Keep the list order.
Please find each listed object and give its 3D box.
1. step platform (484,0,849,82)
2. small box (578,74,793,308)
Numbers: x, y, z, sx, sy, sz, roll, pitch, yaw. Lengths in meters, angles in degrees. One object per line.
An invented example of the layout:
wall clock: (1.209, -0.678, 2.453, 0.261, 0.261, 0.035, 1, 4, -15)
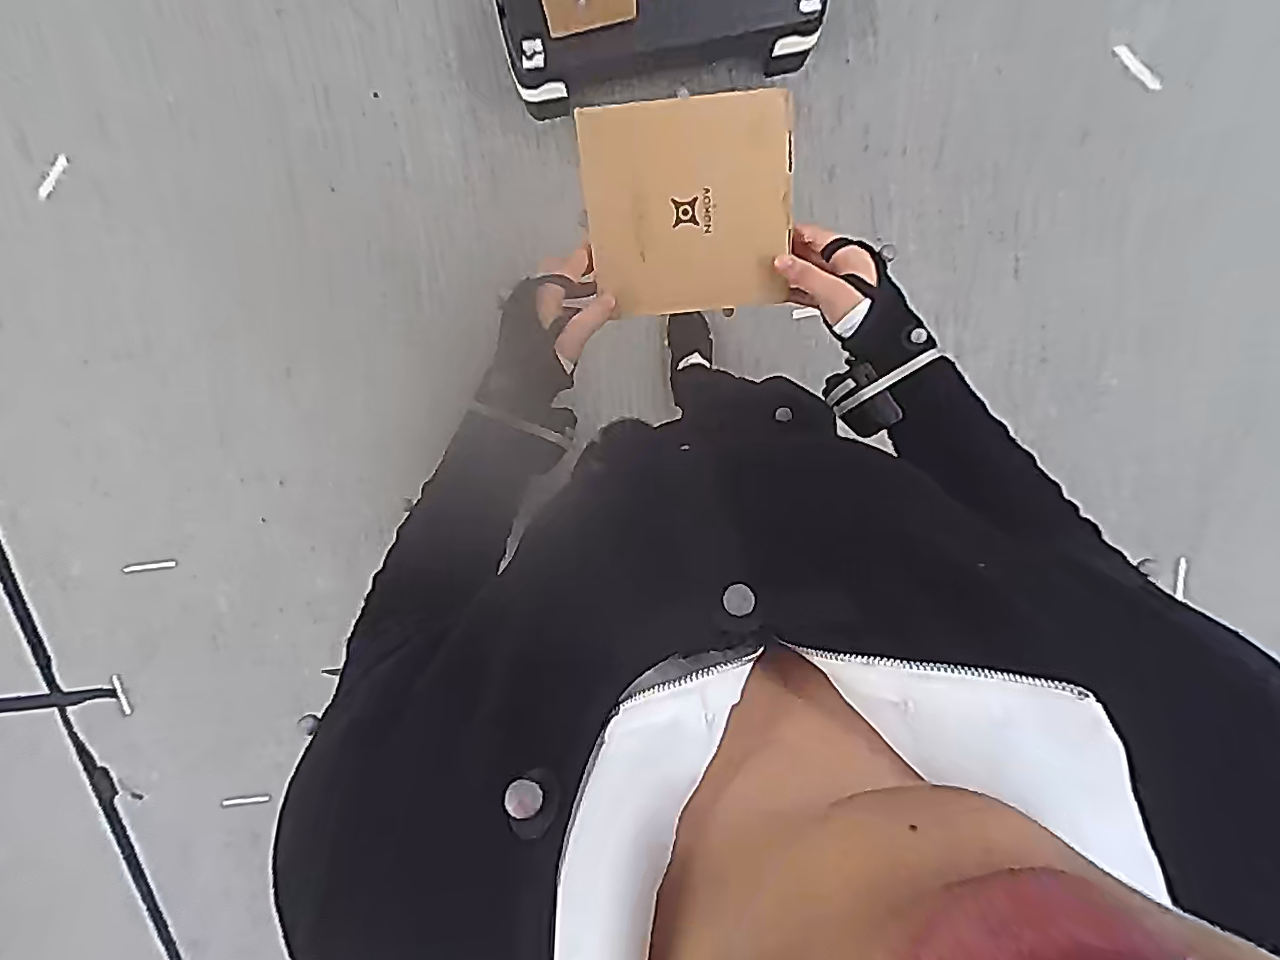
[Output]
step platform: (0.054, -0.955, 0.957, 0.684, 0.204, 0.286, -9, 102, 2)
small box: (0.041, -0.270, 0.534, 0.179, 0.176, 0.168, -6, 111, 2)
